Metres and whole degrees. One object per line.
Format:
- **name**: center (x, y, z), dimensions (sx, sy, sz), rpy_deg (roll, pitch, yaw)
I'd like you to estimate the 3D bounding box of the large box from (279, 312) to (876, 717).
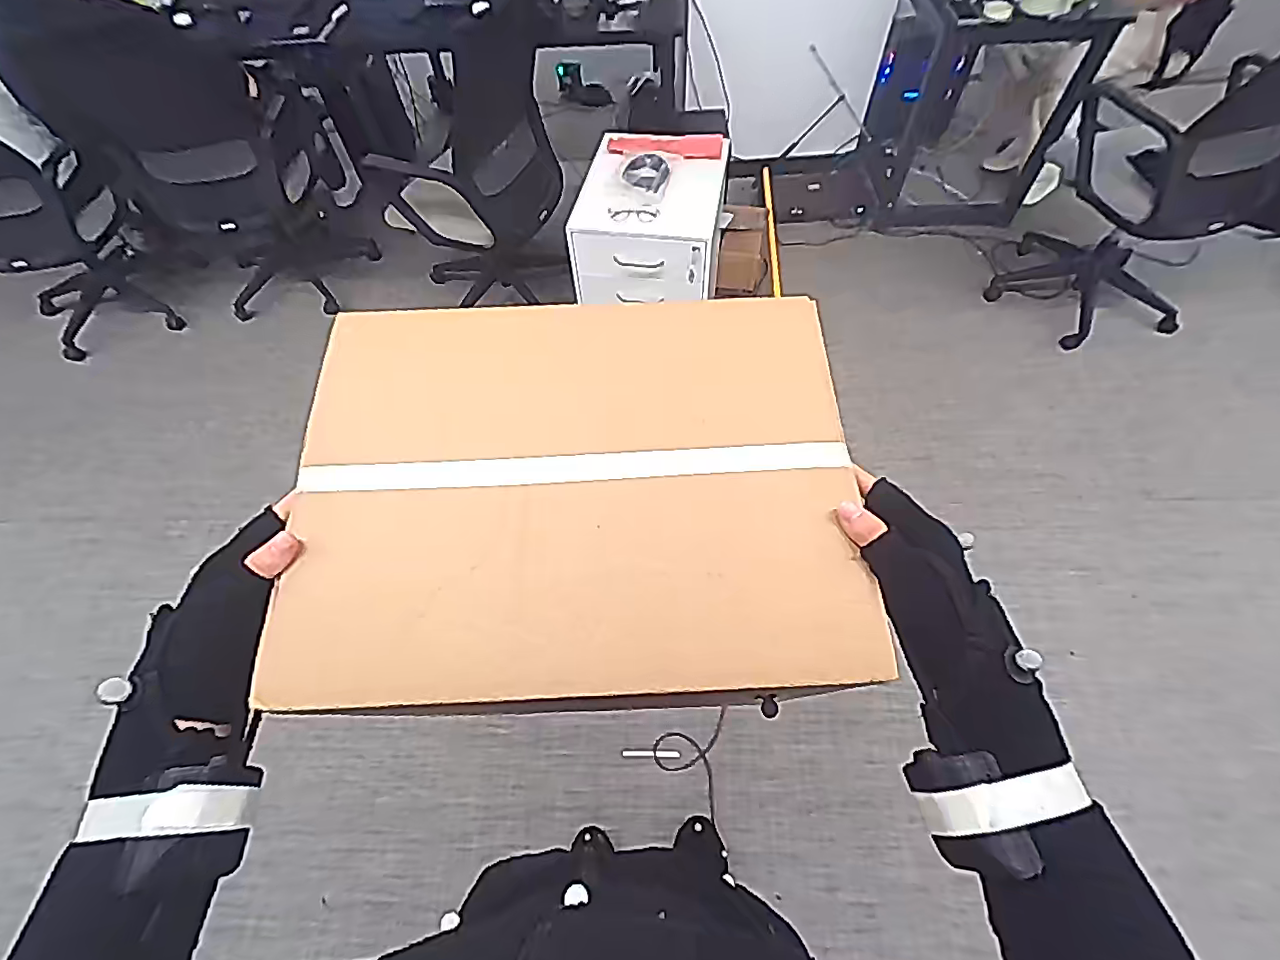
- **large box**: center (-0.044, 0.061, 0.549), dimensions (0.408, 0.320, 0.320), rpy_deg (-2, 65, 0)
